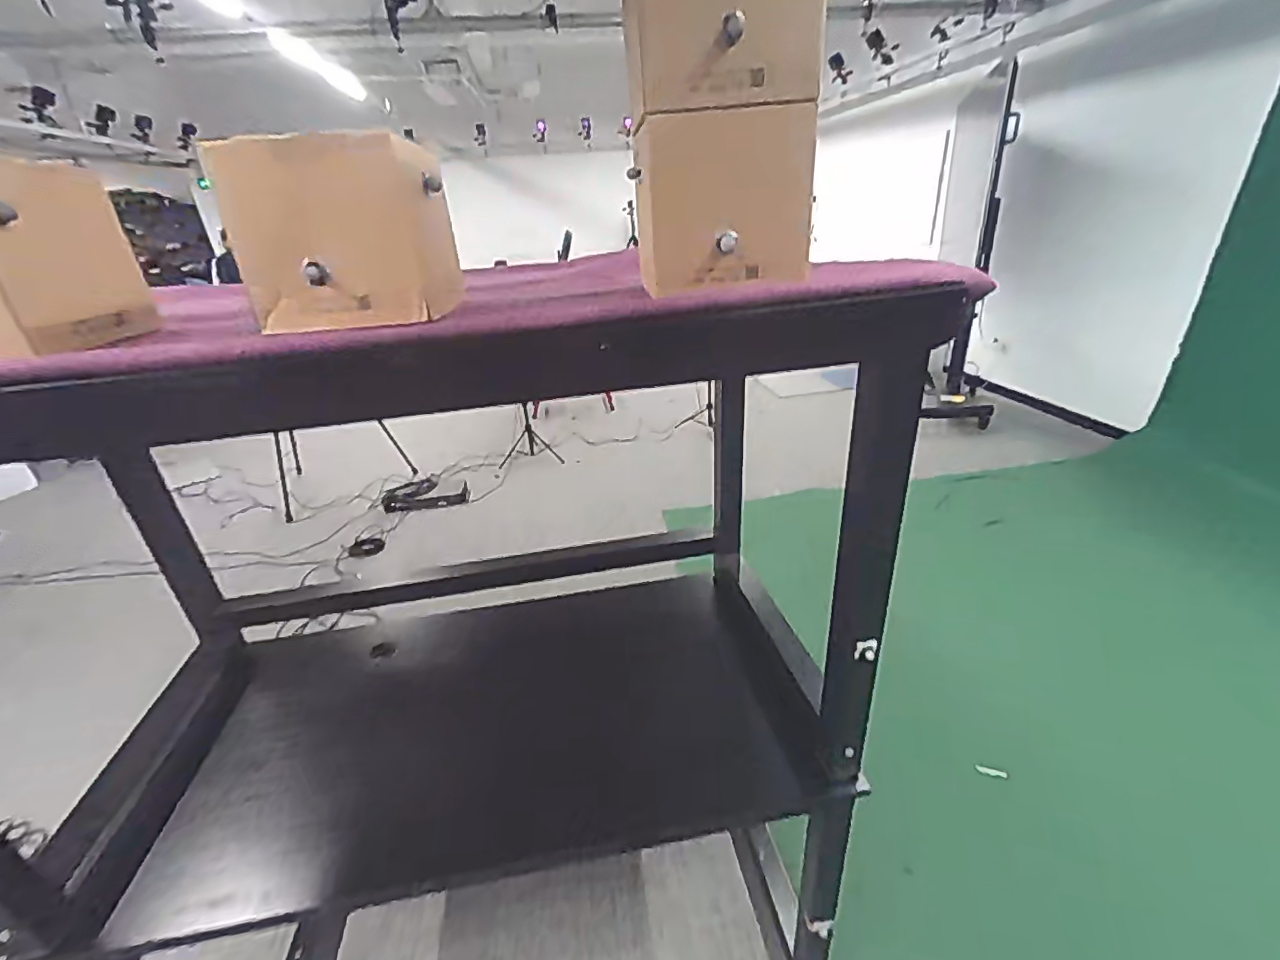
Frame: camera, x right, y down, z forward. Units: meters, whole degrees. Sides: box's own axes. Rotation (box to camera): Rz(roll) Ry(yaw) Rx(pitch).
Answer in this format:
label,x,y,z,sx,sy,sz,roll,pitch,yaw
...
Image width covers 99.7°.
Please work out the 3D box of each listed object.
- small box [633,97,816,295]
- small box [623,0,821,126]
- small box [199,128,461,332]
label,x,y,z,sx,sy,sz,roll,pitch,yaw
small box,0.082,-0.308,0.605,0.168,0.176,0.179,-6,27,-2
small box,0.069,-0.455,0.533,0.168,0.176,0.179,-7,27,-1
small box,-0.299,-0.256,0.572,0.168,0.176,0.179,-6,26,-3
